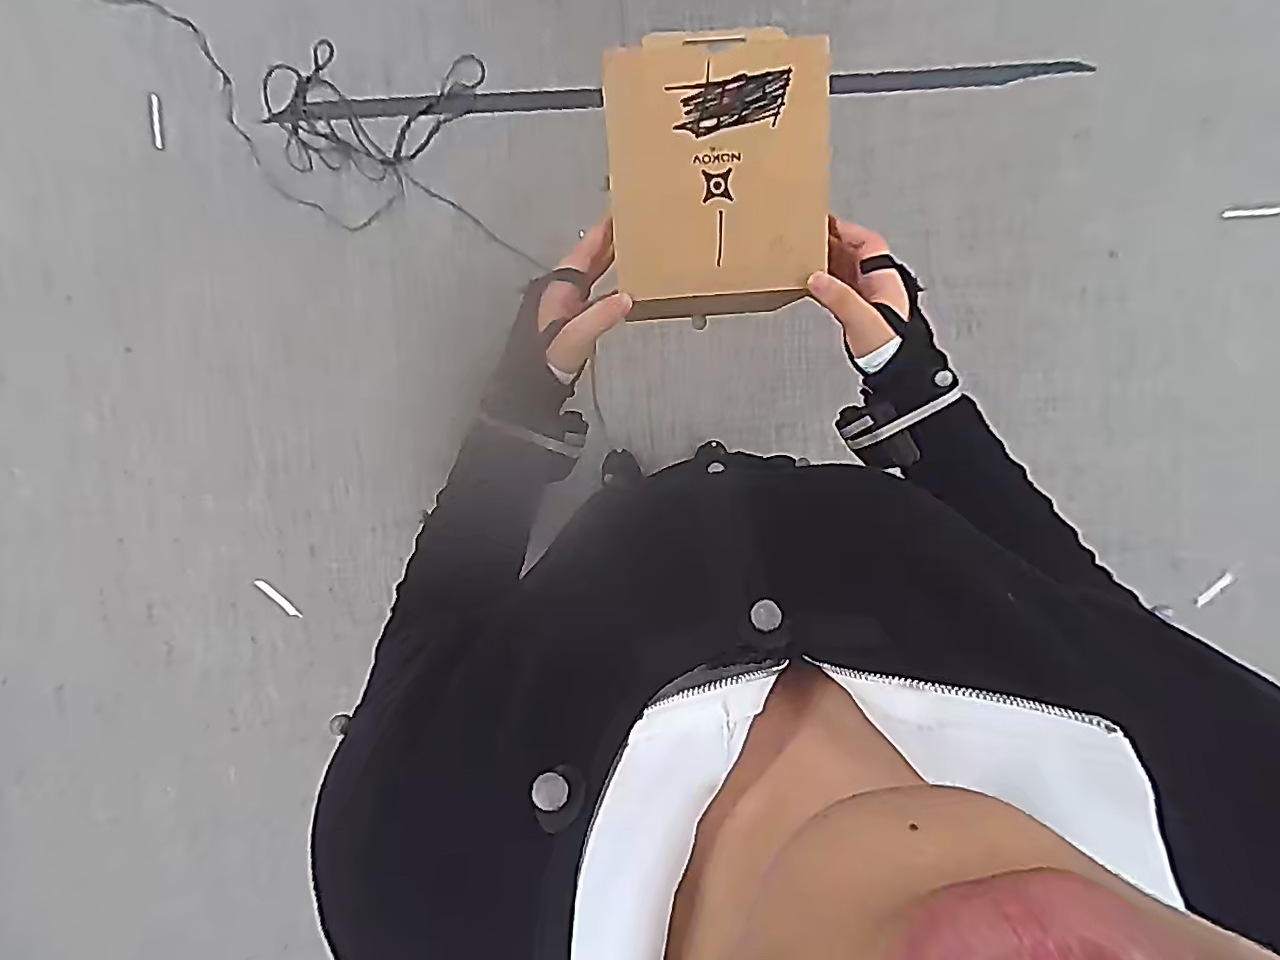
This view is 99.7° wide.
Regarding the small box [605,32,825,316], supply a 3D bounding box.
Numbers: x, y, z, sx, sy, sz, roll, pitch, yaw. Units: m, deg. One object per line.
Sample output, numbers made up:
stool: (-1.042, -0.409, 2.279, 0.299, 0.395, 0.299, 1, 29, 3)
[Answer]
small box: (0.057, -0.252, 0.487, 0.168, 0.176, 0.179, -4, 101, 1)
